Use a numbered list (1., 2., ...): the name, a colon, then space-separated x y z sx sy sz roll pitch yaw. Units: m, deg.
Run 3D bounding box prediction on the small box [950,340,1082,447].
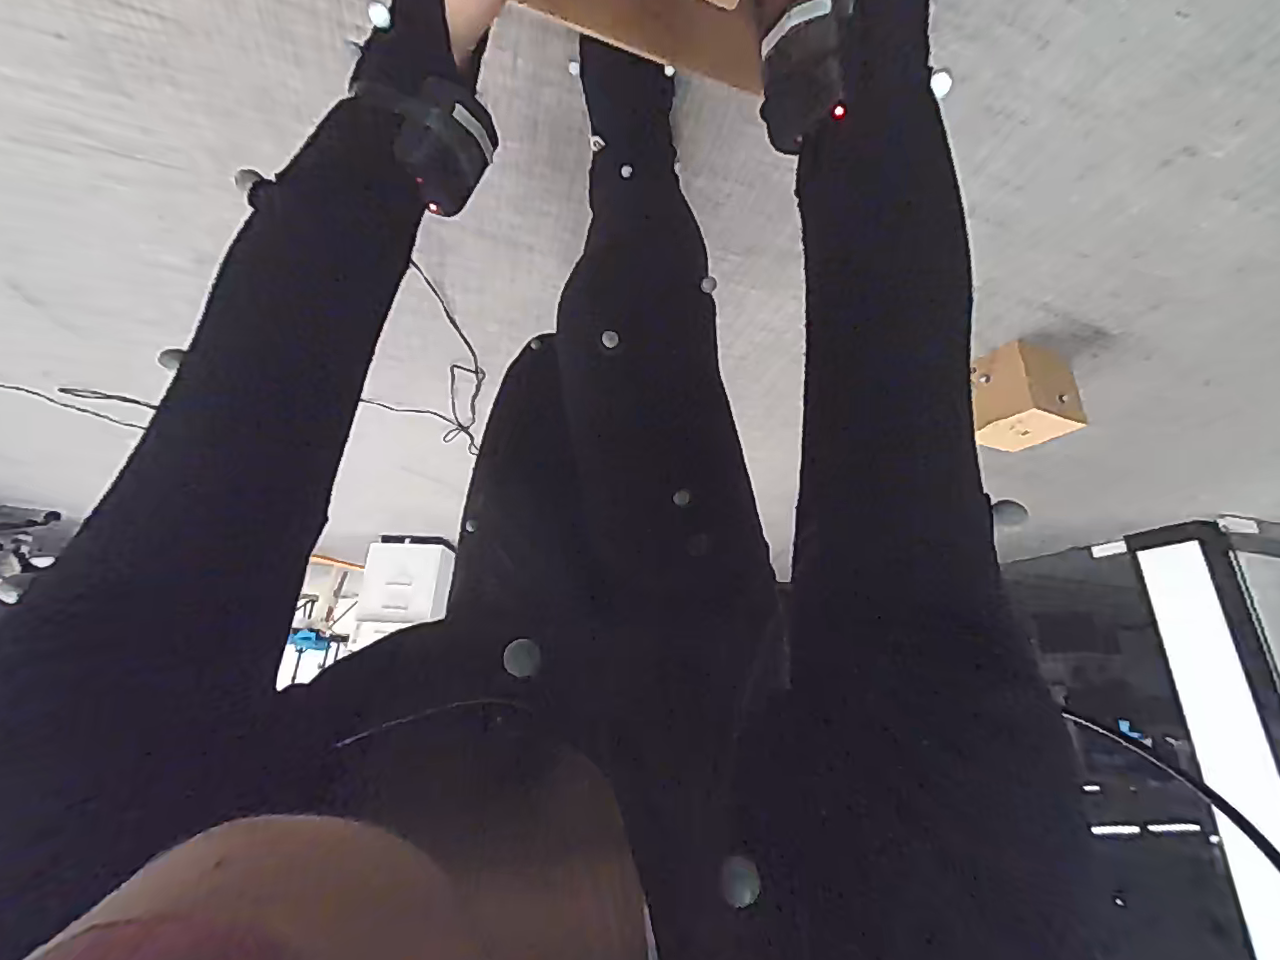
1. small box: 0.839 -0.192 1.219 0.179 0.176 0.168 10 157 -21
